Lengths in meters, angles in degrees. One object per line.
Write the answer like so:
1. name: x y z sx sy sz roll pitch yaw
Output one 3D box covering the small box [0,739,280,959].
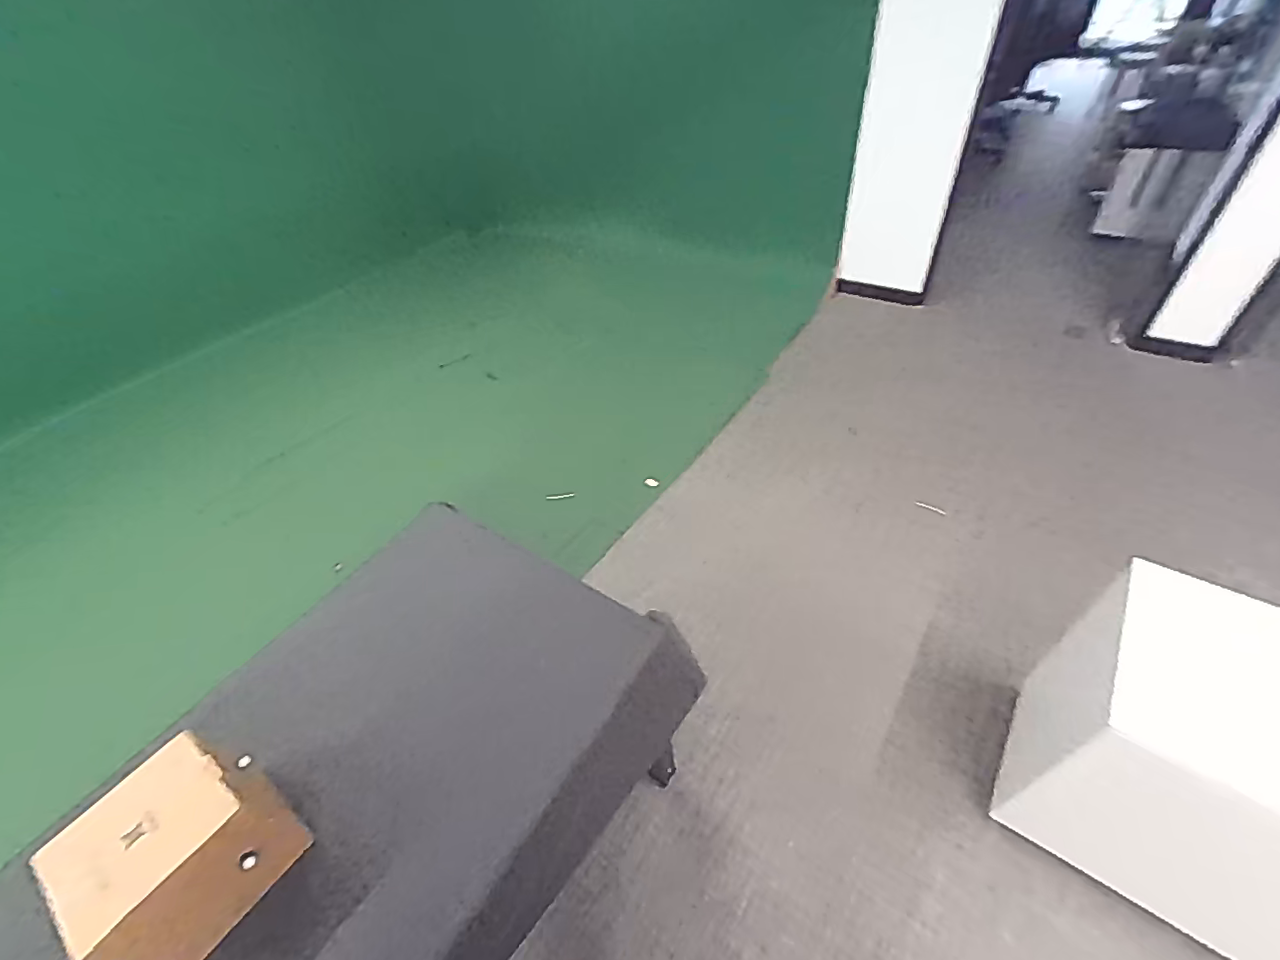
1. small box: -0.571 0.454 0.638 0.168 0.176 0.179 22 51 26
